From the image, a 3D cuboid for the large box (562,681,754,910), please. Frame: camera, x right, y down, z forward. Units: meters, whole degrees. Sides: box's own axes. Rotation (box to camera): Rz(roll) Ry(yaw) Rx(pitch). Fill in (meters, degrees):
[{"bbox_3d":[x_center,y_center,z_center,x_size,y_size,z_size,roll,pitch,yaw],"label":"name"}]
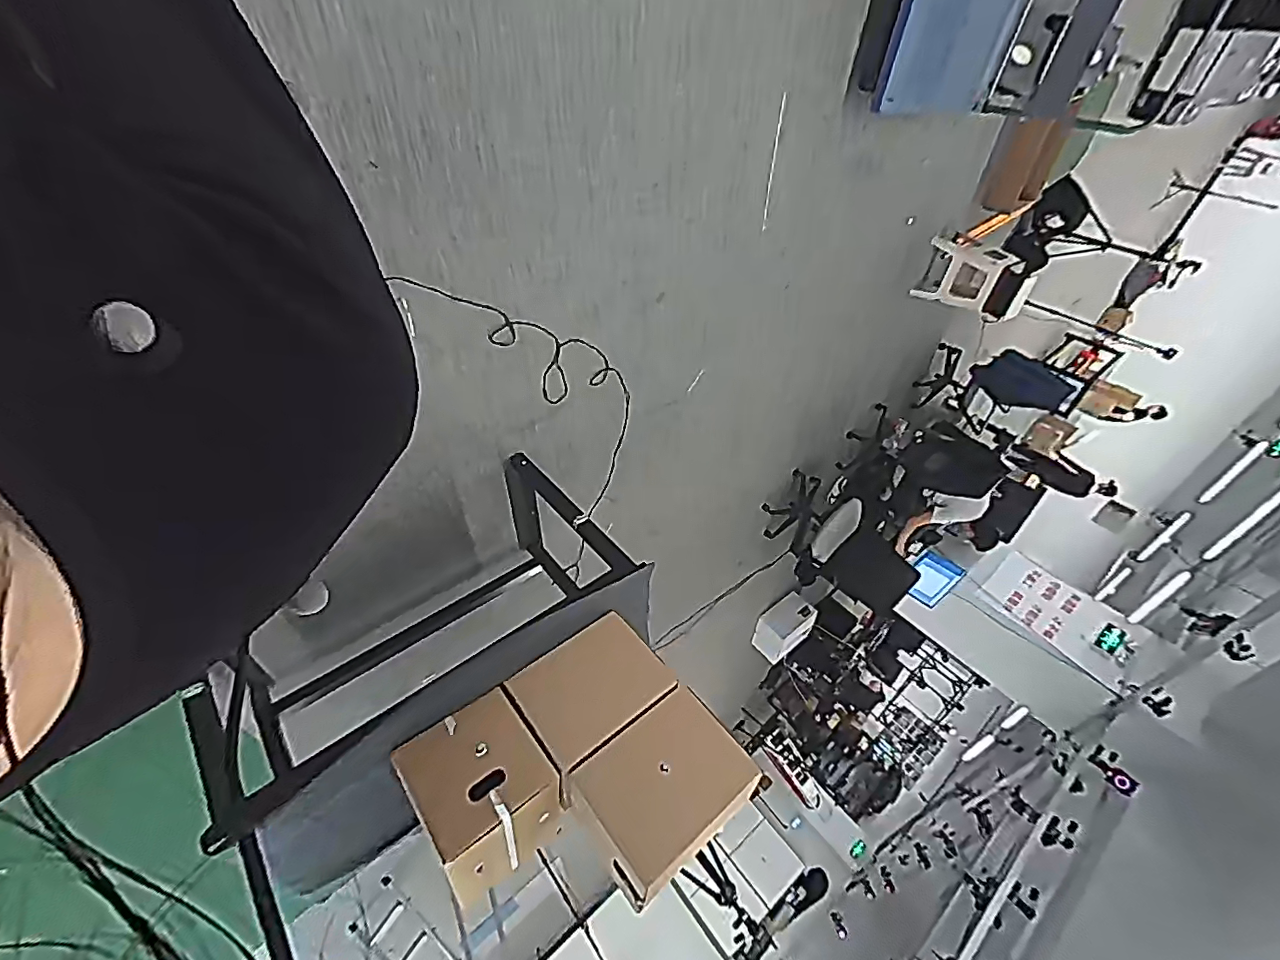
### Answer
[{"bbox_3d":[0.038,0.844,1.477,0.408,0.320,0.320,-28,143,-31],"label":"large box"}]
